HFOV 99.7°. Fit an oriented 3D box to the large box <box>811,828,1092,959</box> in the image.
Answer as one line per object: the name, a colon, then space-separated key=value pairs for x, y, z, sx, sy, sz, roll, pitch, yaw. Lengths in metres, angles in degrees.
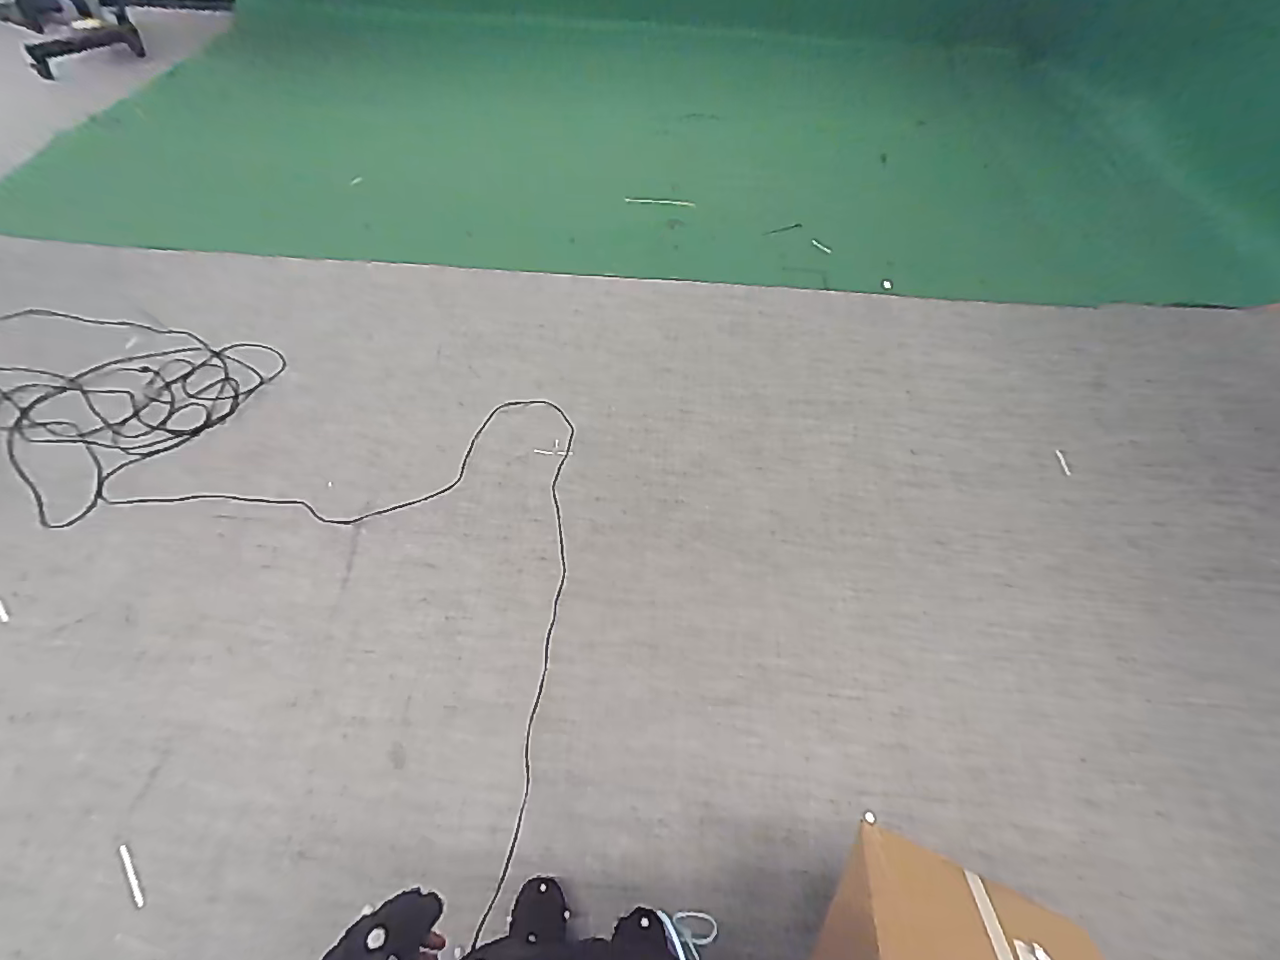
large box: x=0.378 y=0.733 z=0.631 sx=0.320 sy=0.408 sz=0.320 roll=21 pitch=95 yaw=17
